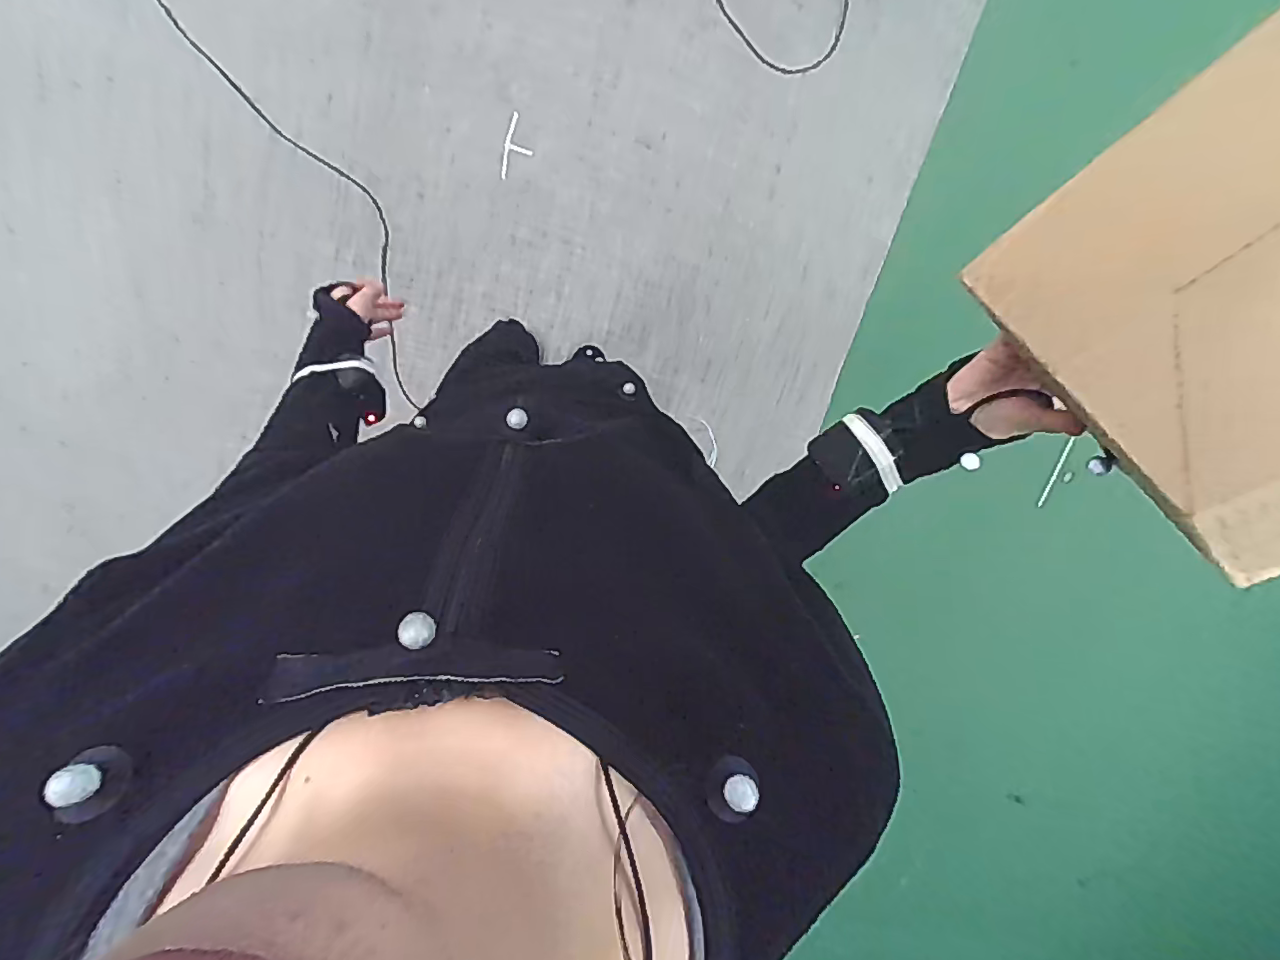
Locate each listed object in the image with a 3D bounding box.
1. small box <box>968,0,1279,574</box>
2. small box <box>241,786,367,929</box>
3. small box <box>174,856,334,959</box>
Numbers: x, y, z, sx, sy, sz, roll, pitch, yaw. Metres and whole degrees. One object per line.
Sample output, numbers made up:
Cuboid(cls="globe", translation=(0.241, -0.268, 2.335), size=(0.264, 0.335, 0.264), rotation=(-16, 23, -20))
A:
Cuboid(cls="small box", translation=(0.302, -0.081, 0.260), size=(0.176, 0.179, 0.168), rotation=(20, 131, -36))
Cuboid(cls="small box", translation=(-0.696, 0.771, 1.117), size=(0.179, 0.176, 0.168), rotation=(19, 100, -11))
Cuboid(cls="small box", translation=(-0.685, 0.813, 0.960), size=(0.179, 0.176, 0.168), rotation=(20, 102, -11))
